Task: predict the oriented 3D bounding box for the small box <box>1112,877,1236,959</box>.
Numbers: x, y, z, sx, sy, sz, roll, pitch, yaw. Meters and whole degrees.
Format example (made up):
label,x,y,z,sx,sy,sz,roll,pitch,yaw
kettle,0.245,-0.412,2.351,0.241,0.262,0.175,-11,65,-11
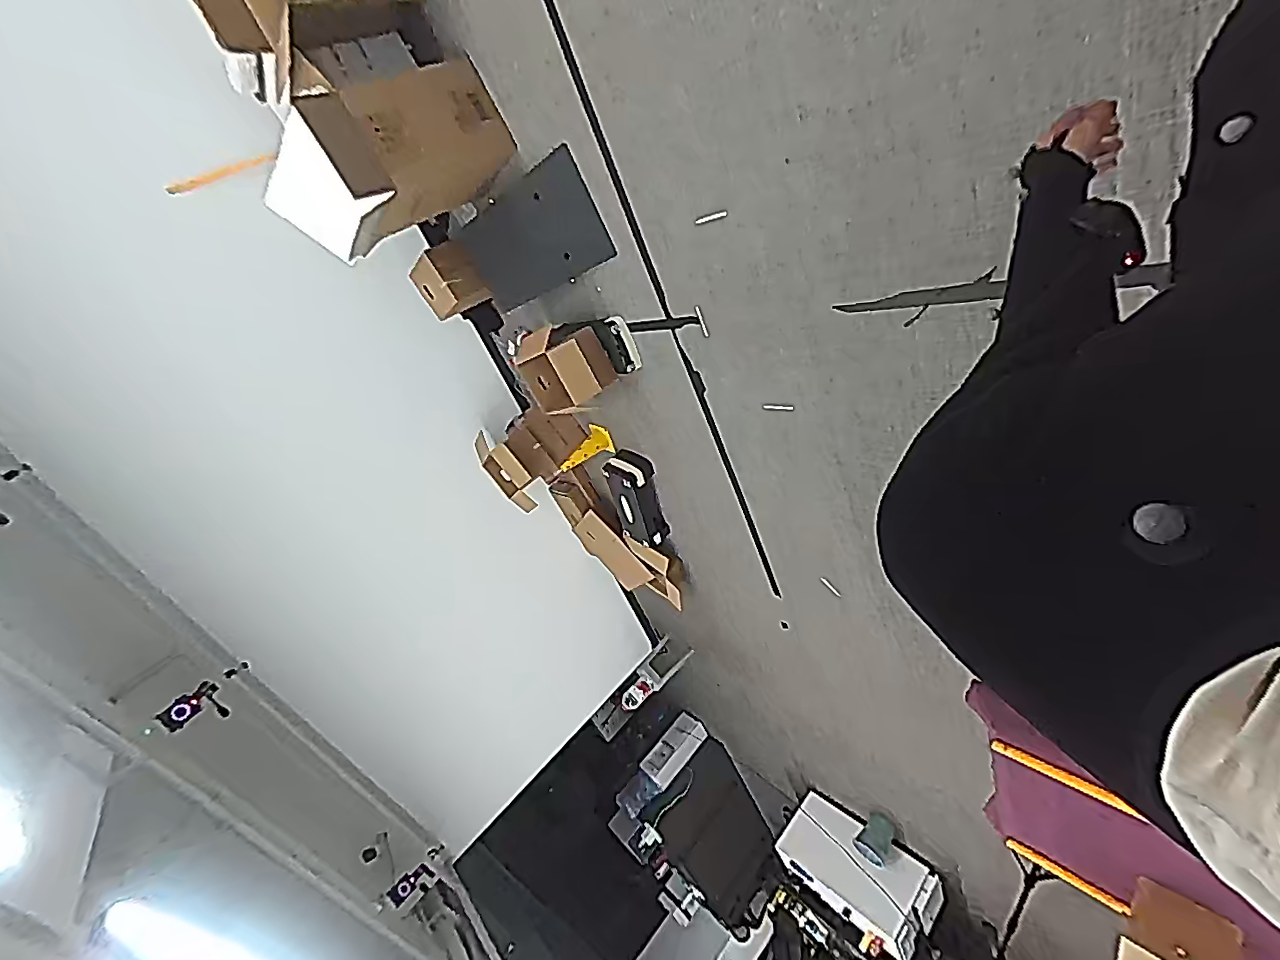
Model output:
label,x,y,z,sx,sy,sz,roll,pitch,yaw
small box,1.266,1.096,1.287,0.179,0.176,0.168,14,135,49
